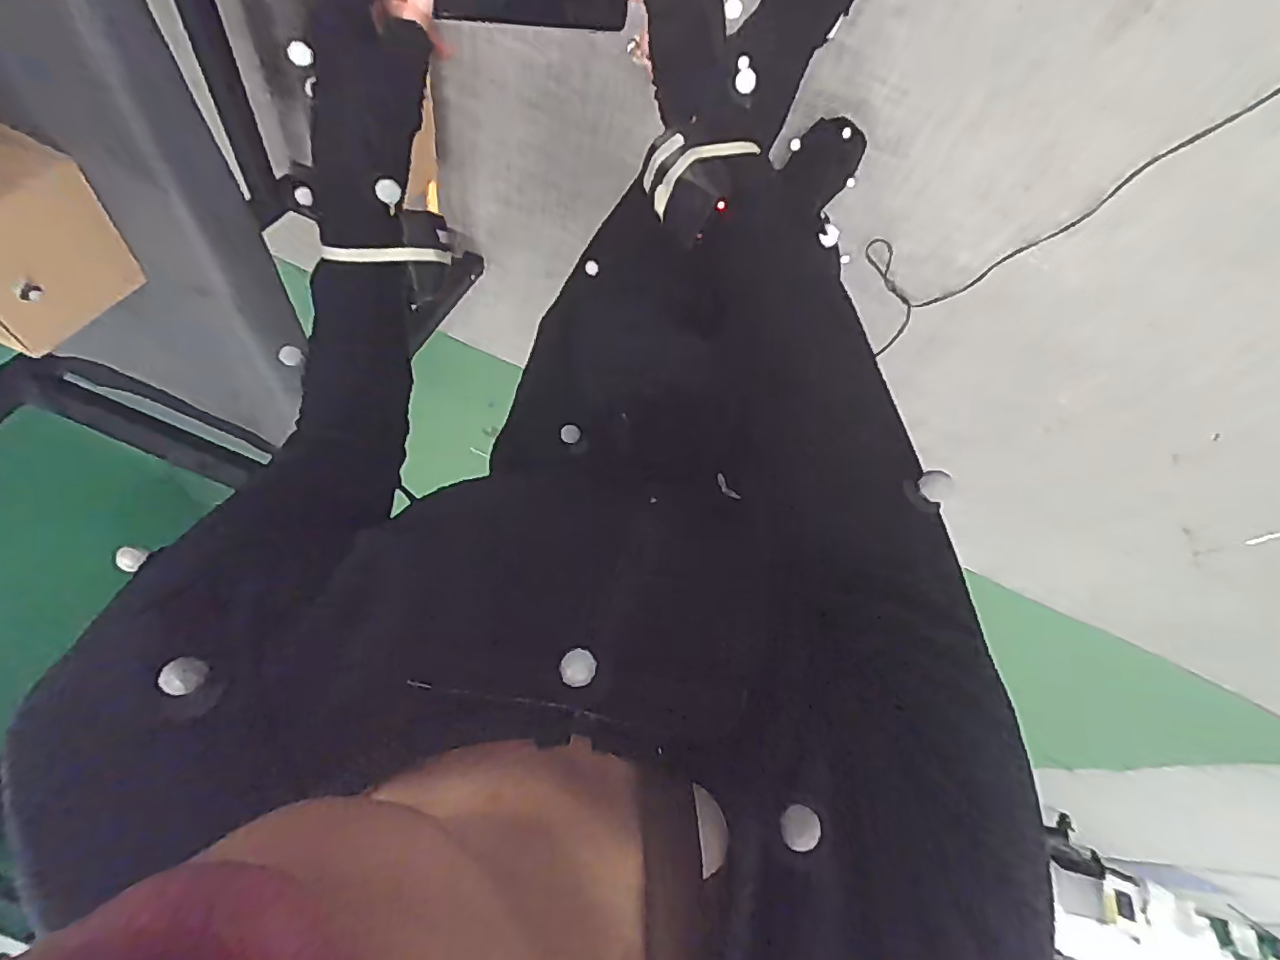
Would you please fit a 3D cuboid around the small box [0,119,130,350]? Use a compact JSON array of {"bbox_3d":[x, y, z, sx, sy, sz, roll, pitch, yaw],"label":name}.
[{"bbox_3d":[-0.742,-0.288,0.602,0.168,0.176,0.179,25,147,-6],"label":"small box"}]
